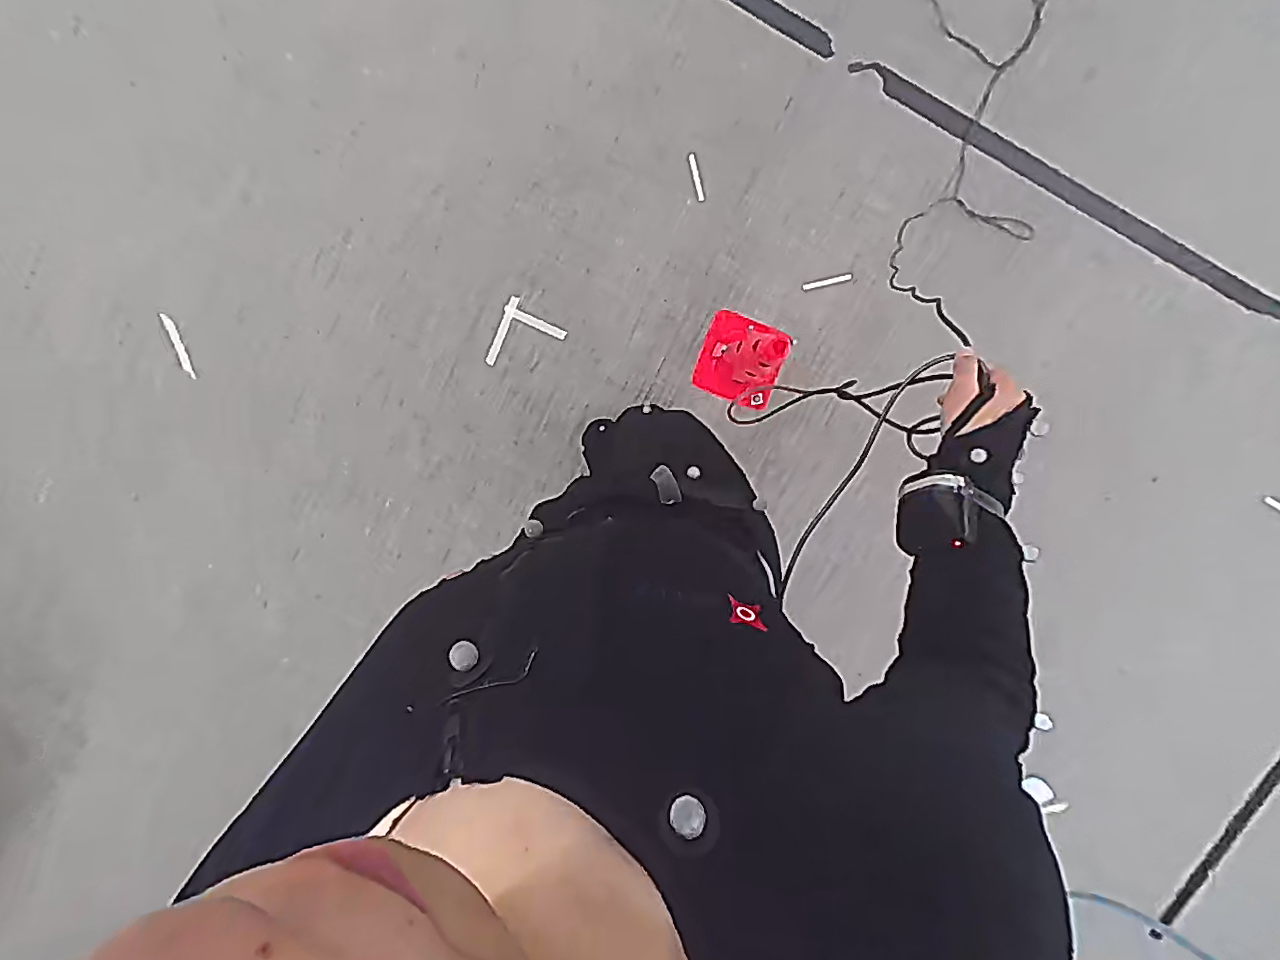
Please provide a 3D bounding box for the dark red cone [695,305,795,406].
[{"bbox_3d":[0.246,-0.273,1.121,0.202,0.394,0.201,19,97,-3],"label":"dark red cone"}]
